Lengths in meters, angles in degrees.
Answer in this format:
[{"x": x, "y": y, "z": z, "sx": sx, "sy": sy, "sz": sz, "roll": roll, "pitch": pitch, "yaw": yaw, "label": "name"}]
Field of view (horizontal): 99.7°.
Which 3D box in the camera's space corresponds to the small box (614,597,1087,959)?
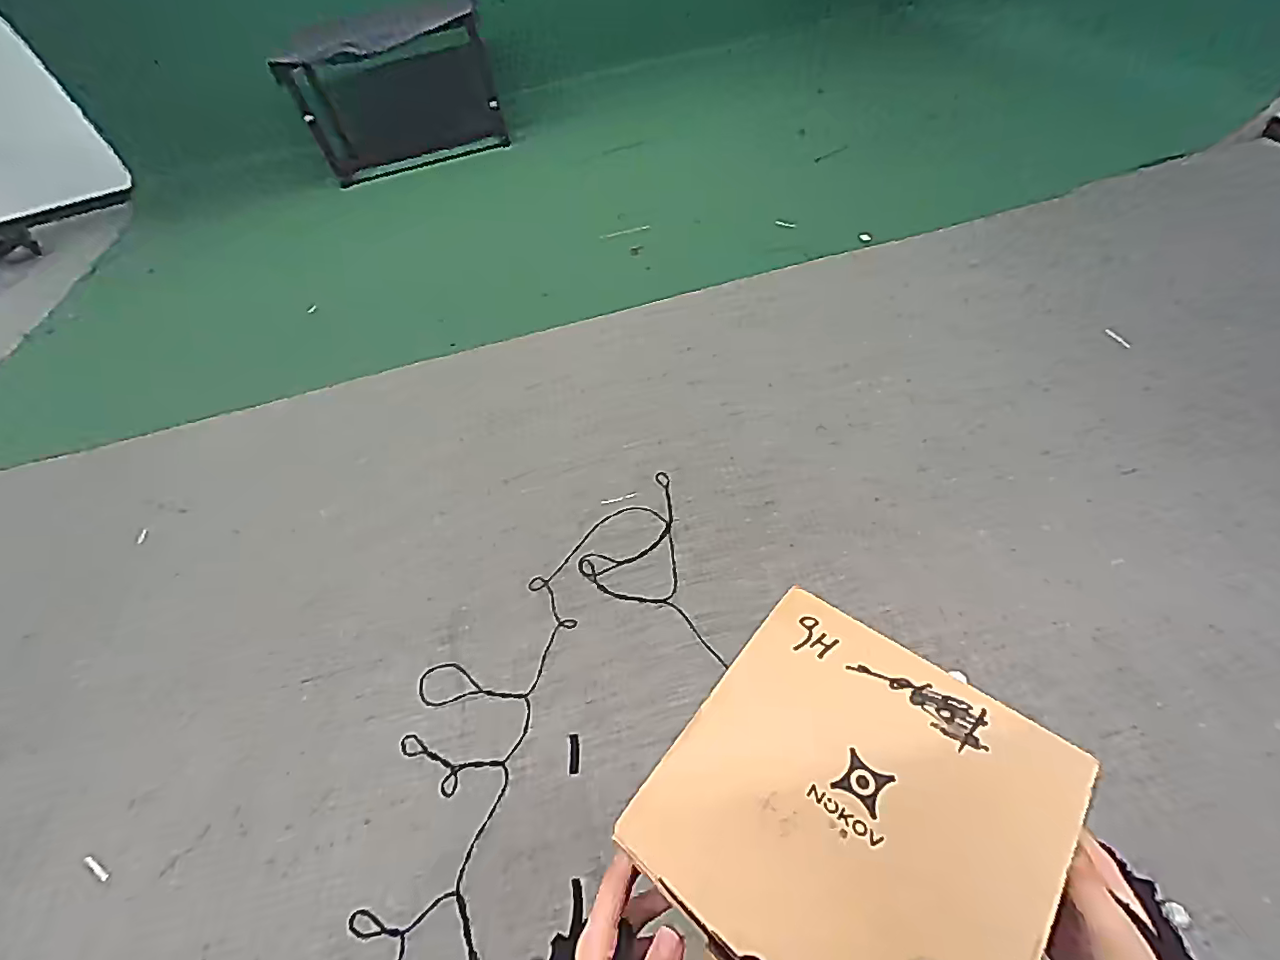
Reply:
[{"x": 0.113, "y": 0.214, "z": 0.325, "sx": 0.168, "sy": 0.176, "sz": 0.179, "roll": 29, "pitch": 59, "yaw": 31, "label": "small box"}]
